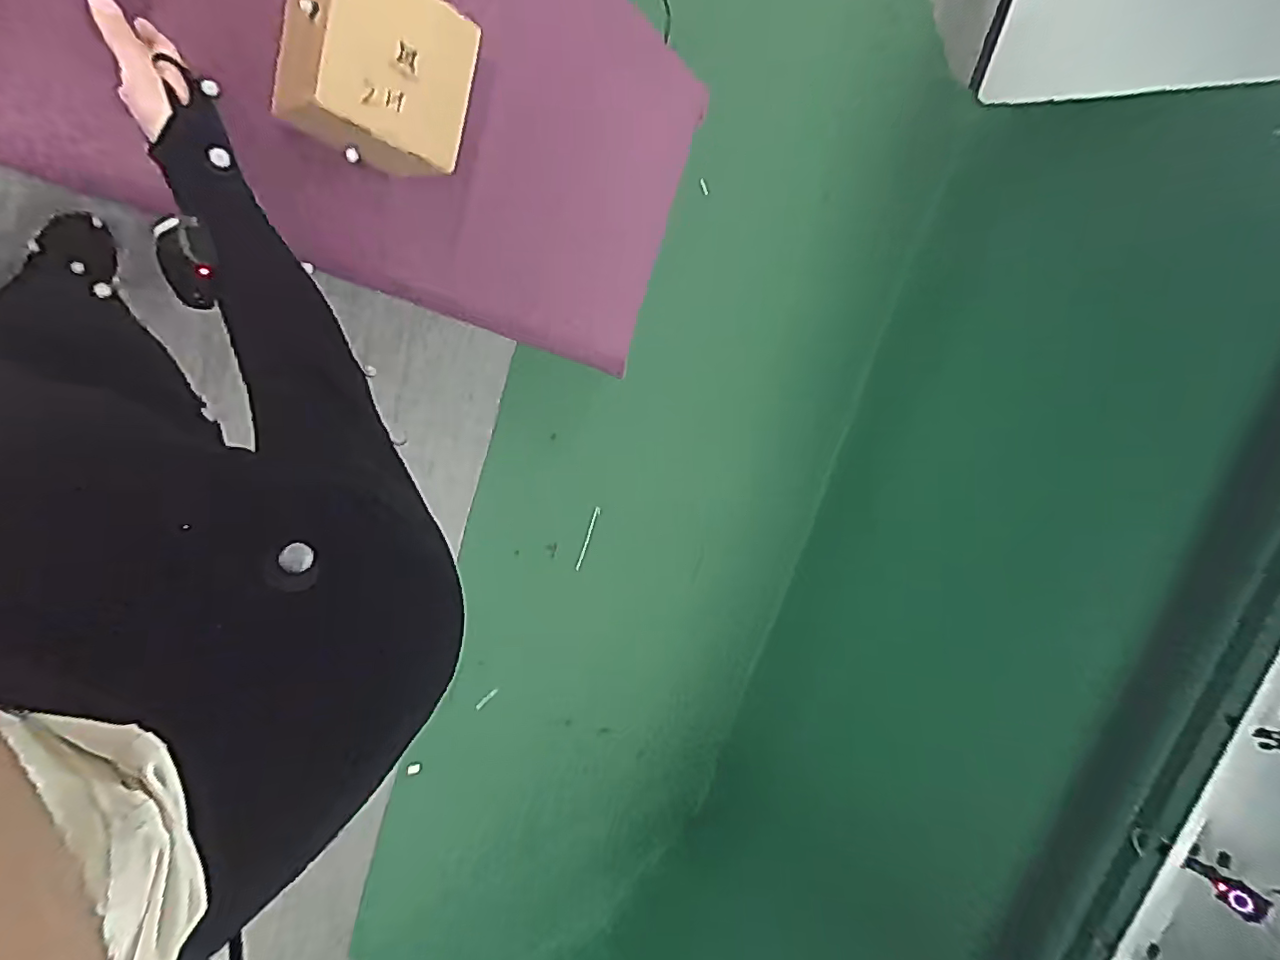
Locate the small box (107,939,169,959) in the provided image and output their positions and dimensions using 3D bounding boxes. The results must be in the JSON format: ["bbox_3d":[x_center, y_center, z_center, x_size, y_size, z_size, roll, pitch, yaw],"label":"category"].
[{"bbox_3d":[-1.284,1.309,1.337,0.168,0.176,0.179,10,103,-53],"label":"small box"}]

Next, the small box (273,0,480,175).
[{"bbox_3d":[-0.330,-0.506,0.670,0.168,0.176,0.179,4,106,-50],"label":"small box"}]
